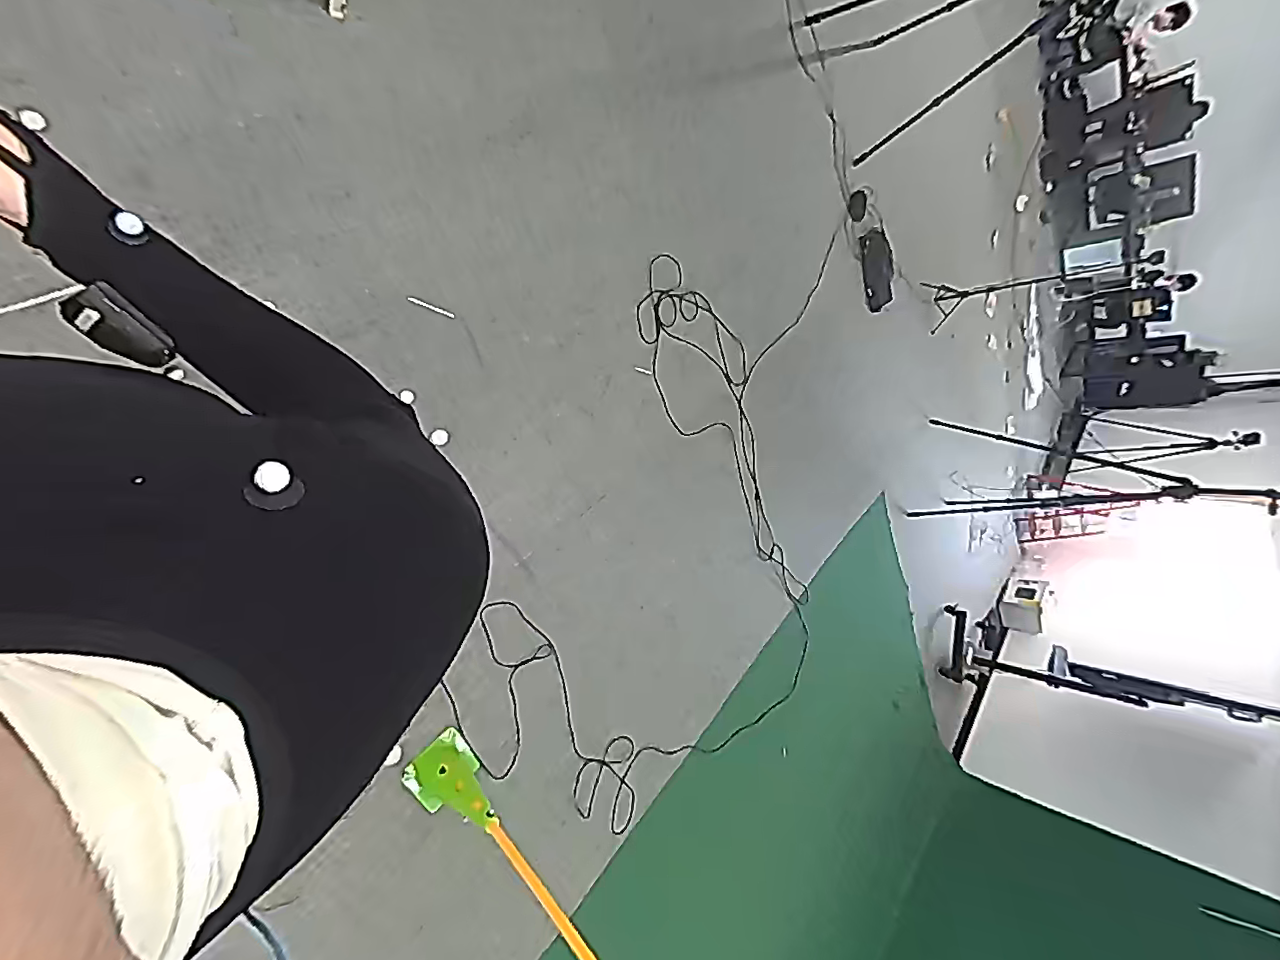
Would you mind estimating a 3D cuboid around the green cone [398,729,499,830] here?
[{"bbox_3d":[-0.532,0.943,1.615,0.202,0.368,0.200,-42,120,-34],"label":"green cone"}]
